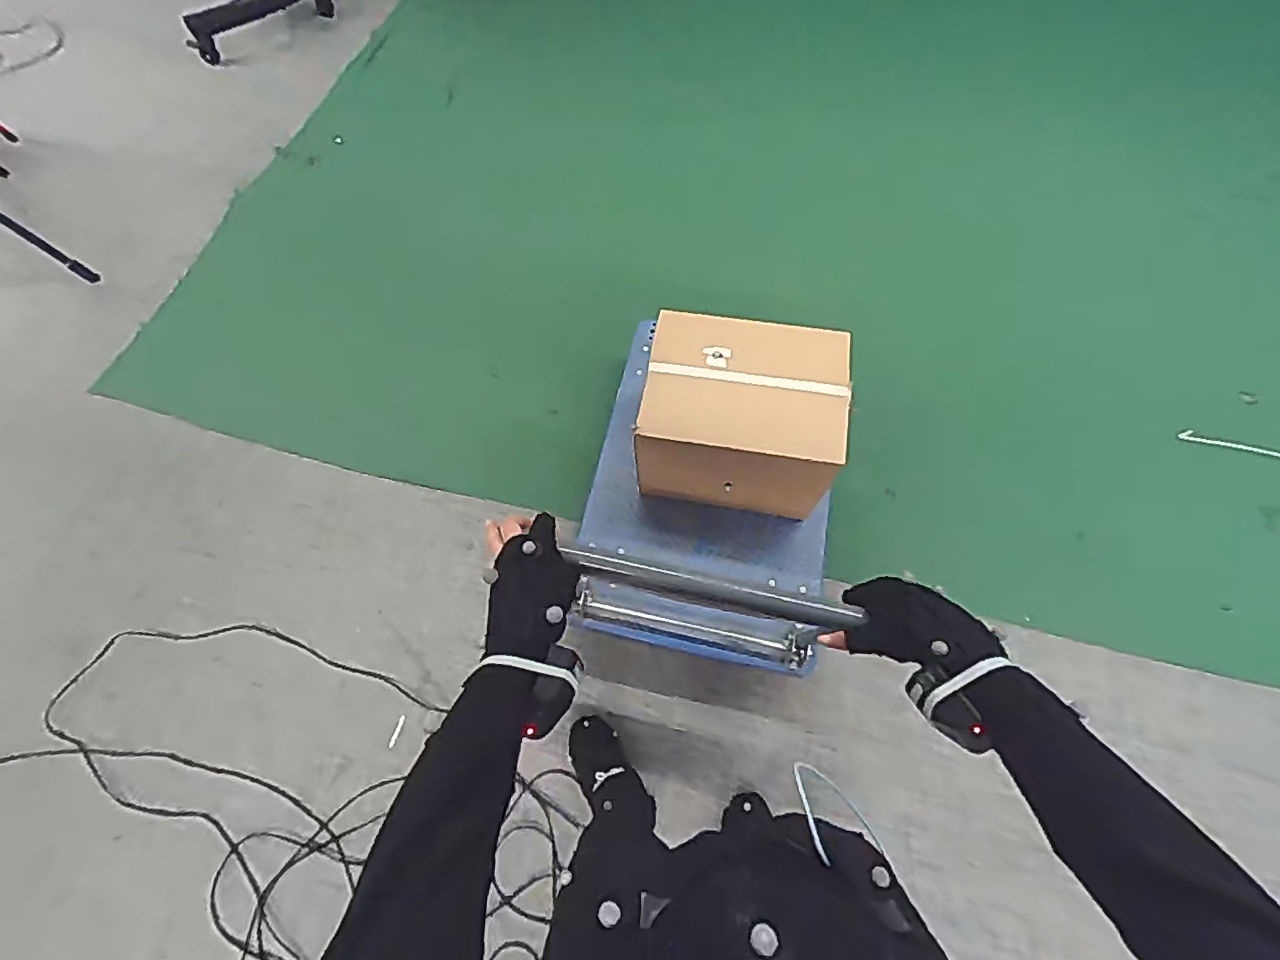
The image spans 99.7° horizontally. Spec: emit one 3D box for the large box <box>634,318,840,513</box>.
[{"bbox_3d":[0.214,-0.135,1.242,0.408,0.320,0.320,8,66,6],"label":"large box"}]
